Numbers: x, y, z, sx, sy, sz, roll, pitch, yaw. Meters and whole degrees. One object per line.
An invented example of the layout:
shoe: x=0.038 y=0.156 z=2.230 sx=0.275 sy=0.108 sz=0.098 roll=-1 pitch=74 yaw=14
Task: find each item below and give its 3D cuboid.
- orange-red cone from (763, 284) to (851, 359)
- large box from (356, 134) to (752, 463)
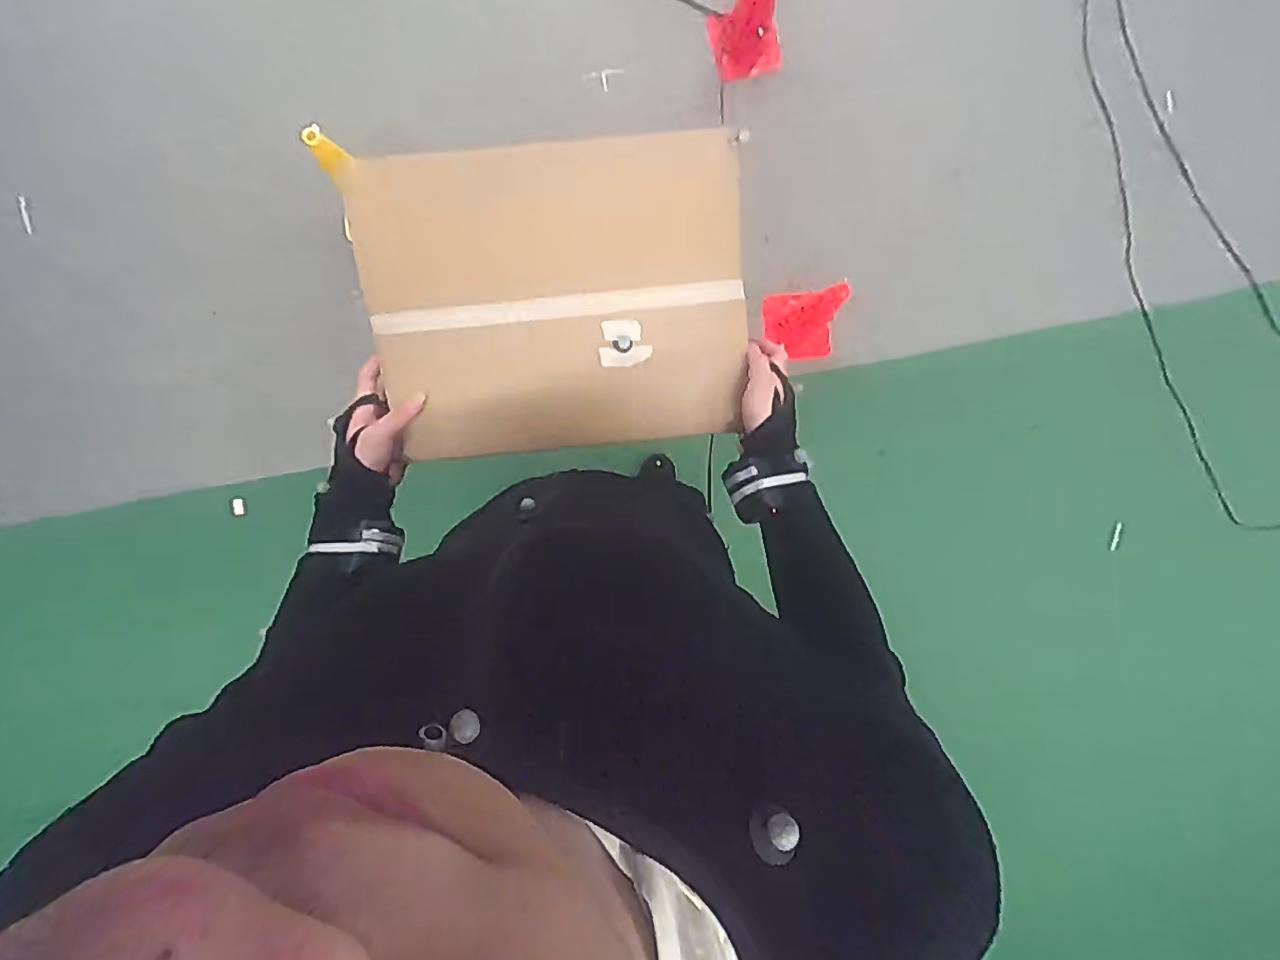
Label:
orange-red cone: x=0.483 y=-0.463 z=1.476 sx=0.199 sy=0.360 sz=0.198 roll=-4 pitch=93 yaw=-3
large box: x=-0.089 y=-0.227 z=0.737 sx=0.408 sy=0.320 sz=0.320 roll=-6 pitch=106 yaw=-2
